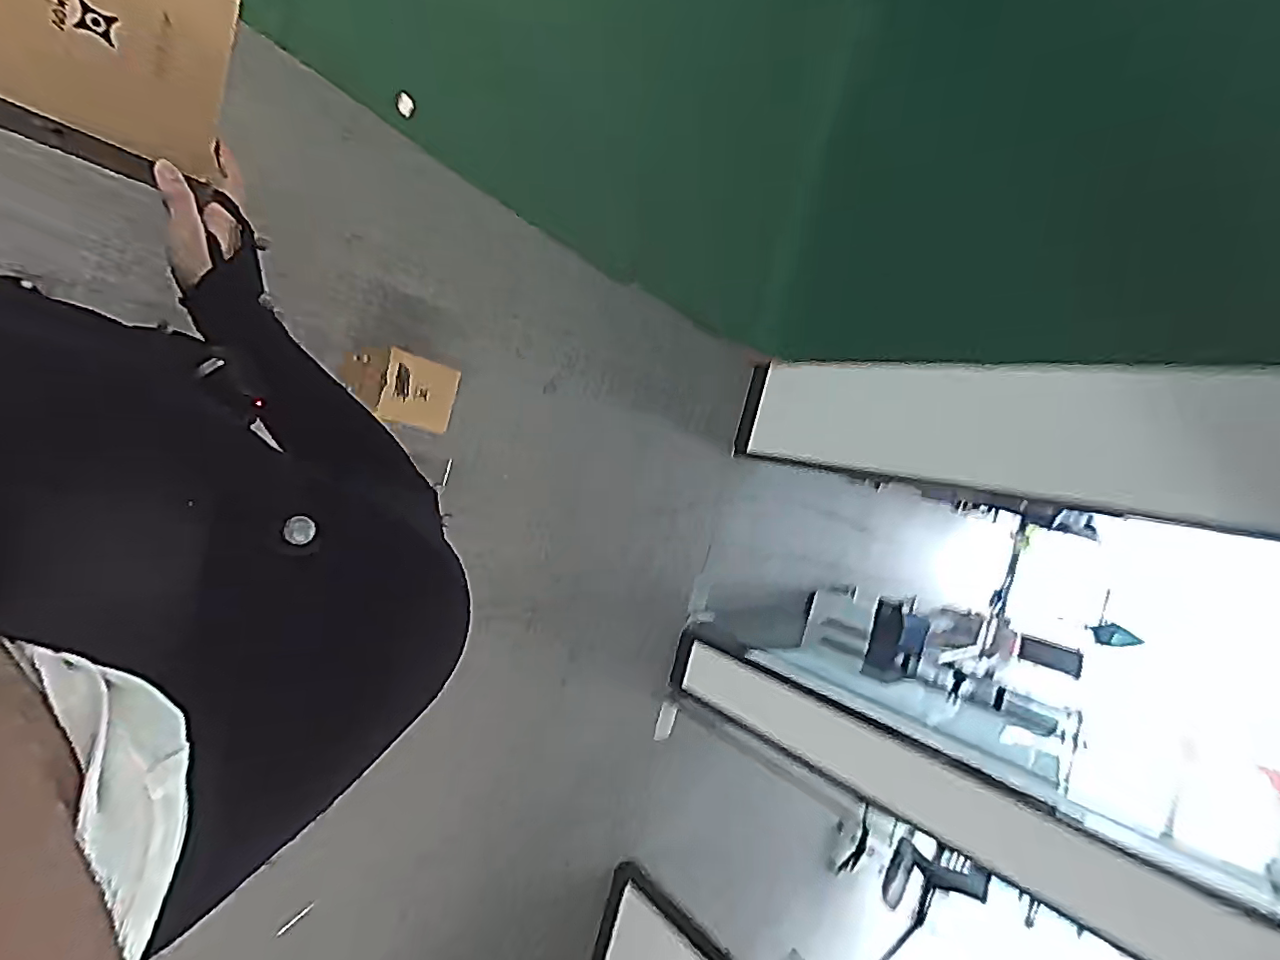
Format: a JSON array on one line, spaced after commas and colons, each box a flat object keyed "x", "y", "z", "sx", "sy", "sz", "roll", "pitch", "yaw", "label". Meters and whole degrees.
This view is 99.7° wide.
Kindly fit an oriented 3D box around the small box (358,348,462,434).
[{"x": -0.586, "y": -0.223, "z": 1.367, "sx": 0.179, "sy": 0.176, "sz": 0.168, "roll": 16, "pitch": 89, "yaw": -46, "label": "small box"}]

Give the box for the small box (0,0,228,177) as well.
[{"x": -0.491, "y": -0.378, "z": 0.459, "sx": 0.179, "sy": 0.176, "sz": 0.168, "roll": 6, "pitch": 102, "yaw": -54, "label": "small box"}]
